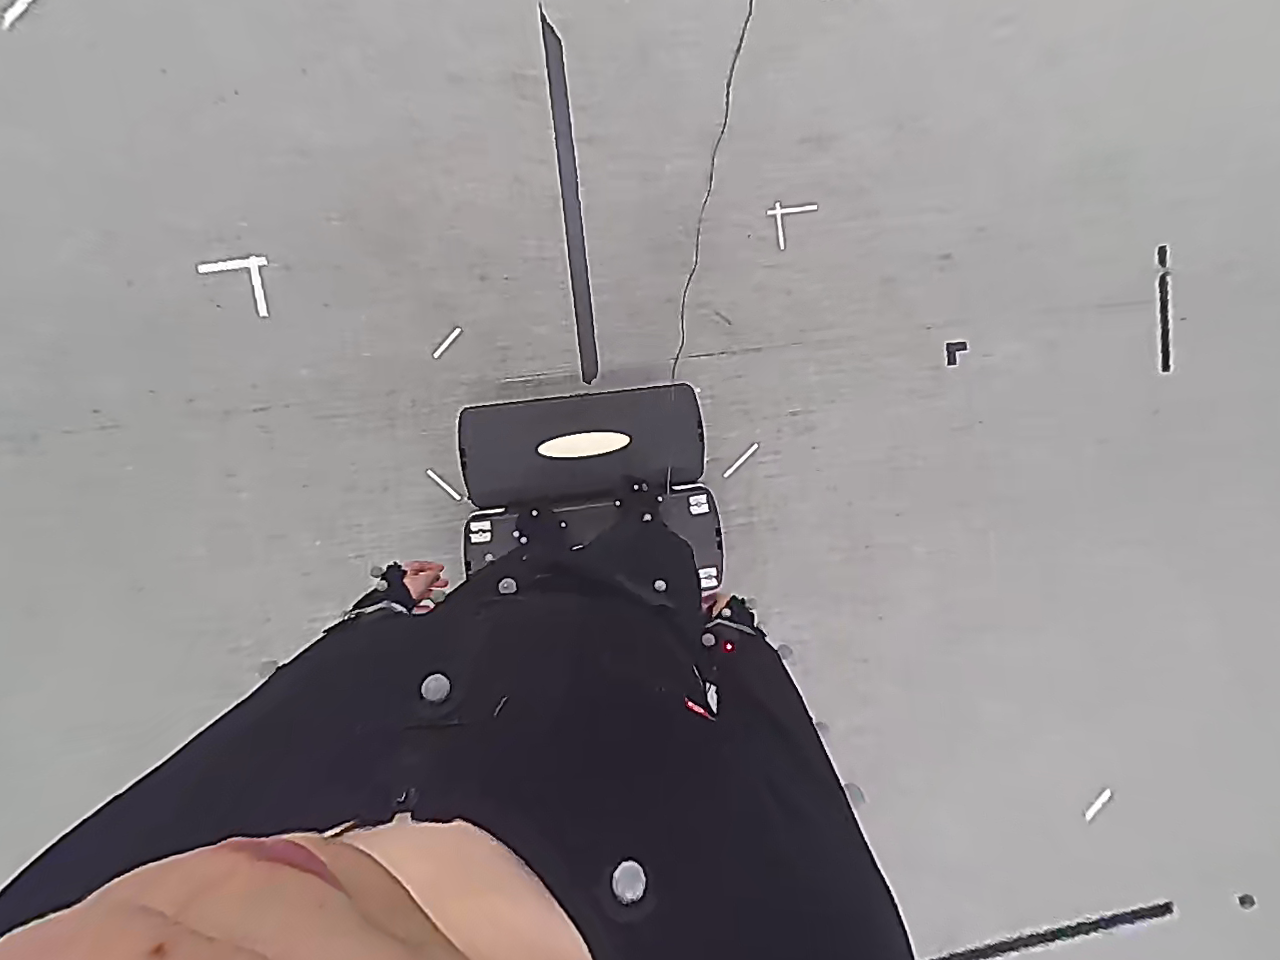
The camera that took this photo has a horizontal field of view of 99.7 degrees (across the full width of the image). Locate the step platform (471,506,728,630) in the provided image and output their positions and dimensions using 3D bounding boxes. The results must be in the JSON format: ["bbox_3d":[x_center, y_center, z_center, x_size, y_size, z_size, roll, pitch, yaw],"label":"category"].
[{"bbox_3d":[-0.105,0.233,1.475,0.684,0.204,0.286,-3,91,-4],"label":"step platform"}]
